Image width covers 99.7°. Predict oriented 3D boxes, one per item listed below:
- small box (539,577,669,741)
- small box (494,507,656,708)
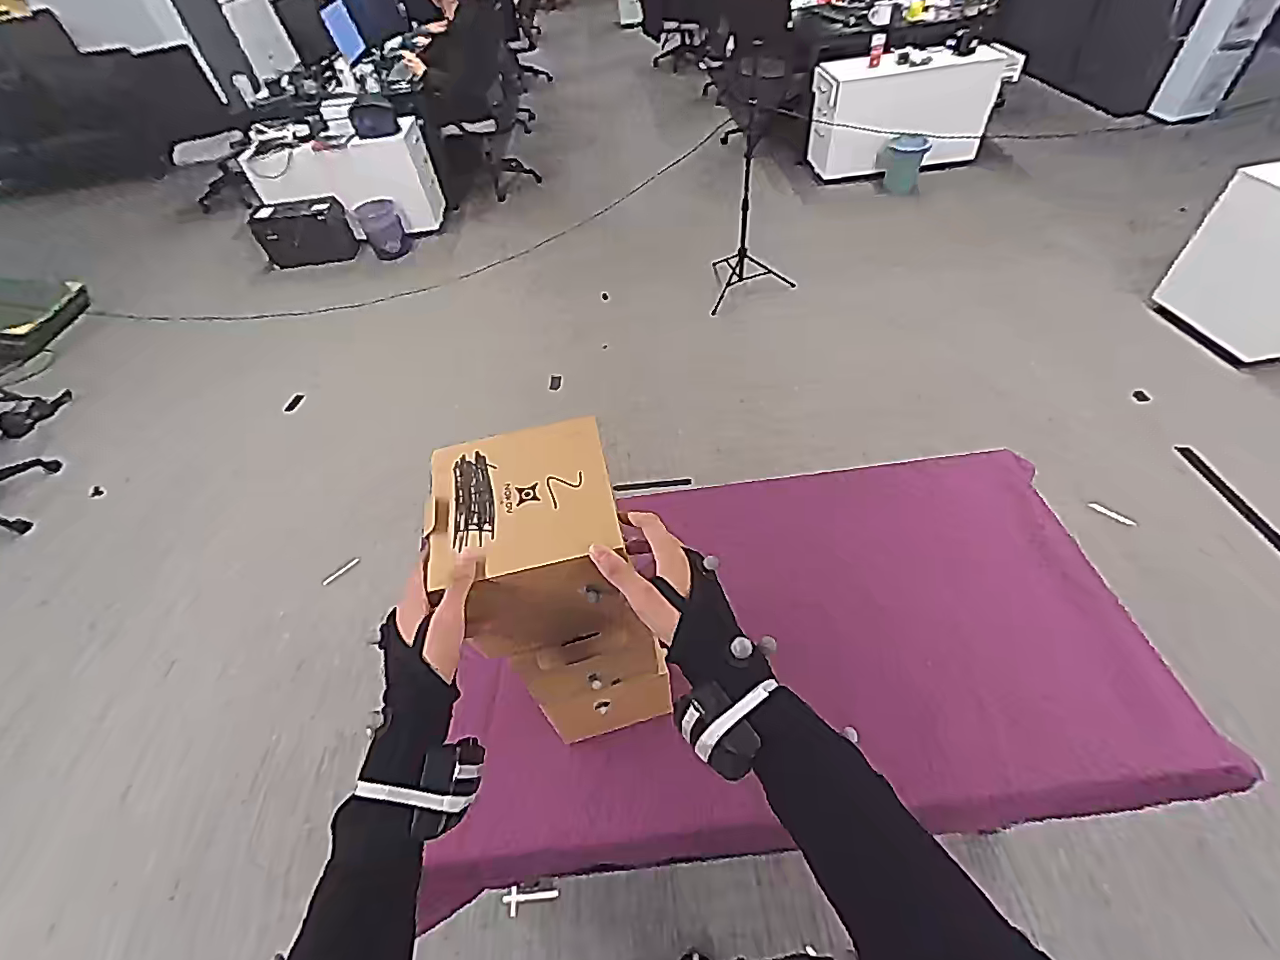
[{"bbox_3d":[-0.060,0.278,0.833,0.179,0.176,0.168,-14,50,-7],"label":"small box"},{"bbox_3d":[-0.083,0.169,0.711,0.168,0.176,0.179,-16,50,-6],"label":"small box"}]
